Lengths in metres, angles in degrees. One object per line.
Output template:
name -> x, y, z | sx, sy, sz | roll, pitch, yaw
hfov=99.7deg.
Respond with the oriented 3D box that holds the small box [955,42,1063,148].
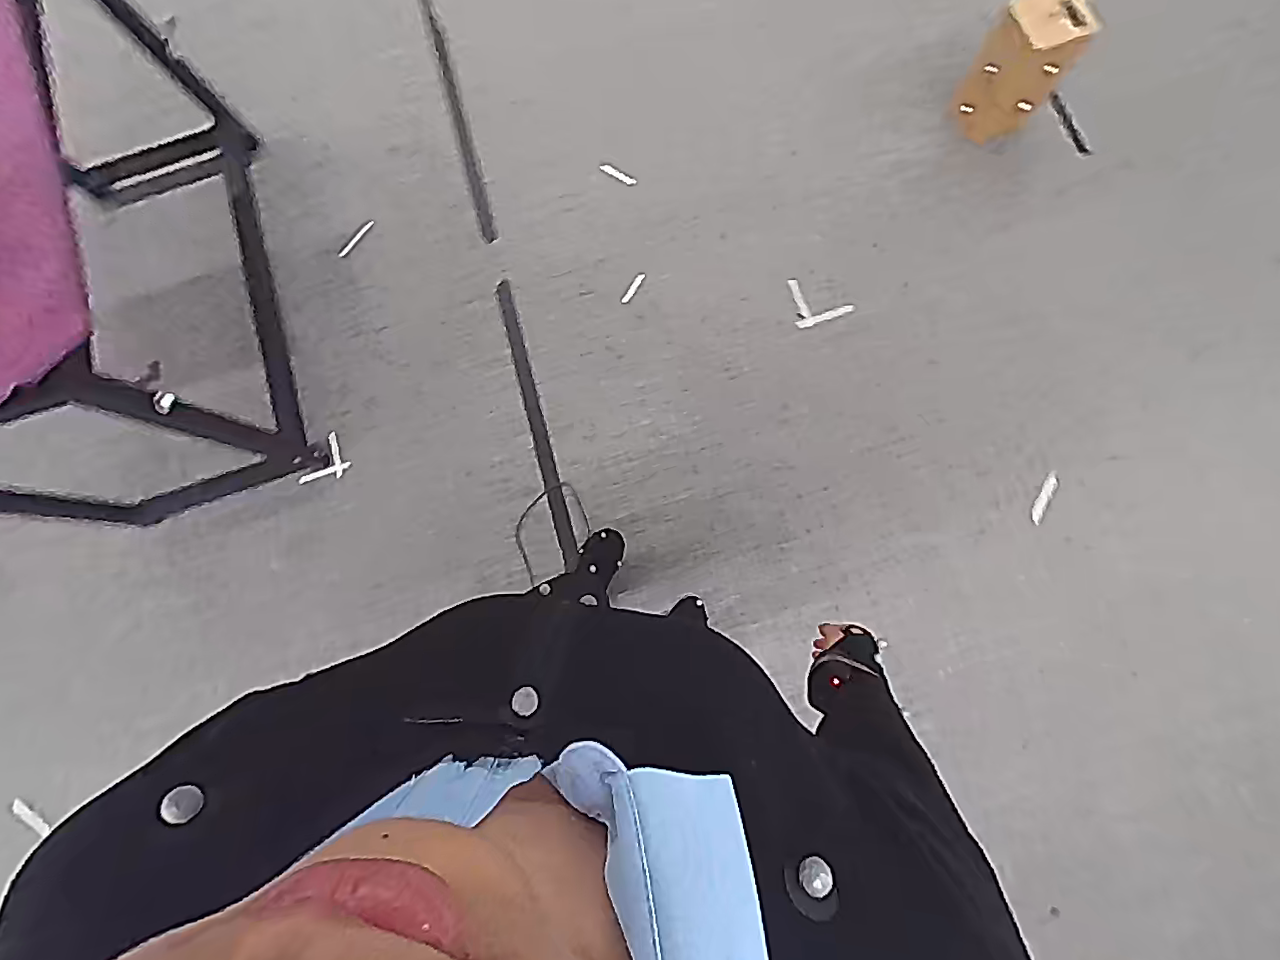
small box -> 1.097, -1.148, 1.623 | 0.179, 0.176, 0.168 | -22, 80, -1
